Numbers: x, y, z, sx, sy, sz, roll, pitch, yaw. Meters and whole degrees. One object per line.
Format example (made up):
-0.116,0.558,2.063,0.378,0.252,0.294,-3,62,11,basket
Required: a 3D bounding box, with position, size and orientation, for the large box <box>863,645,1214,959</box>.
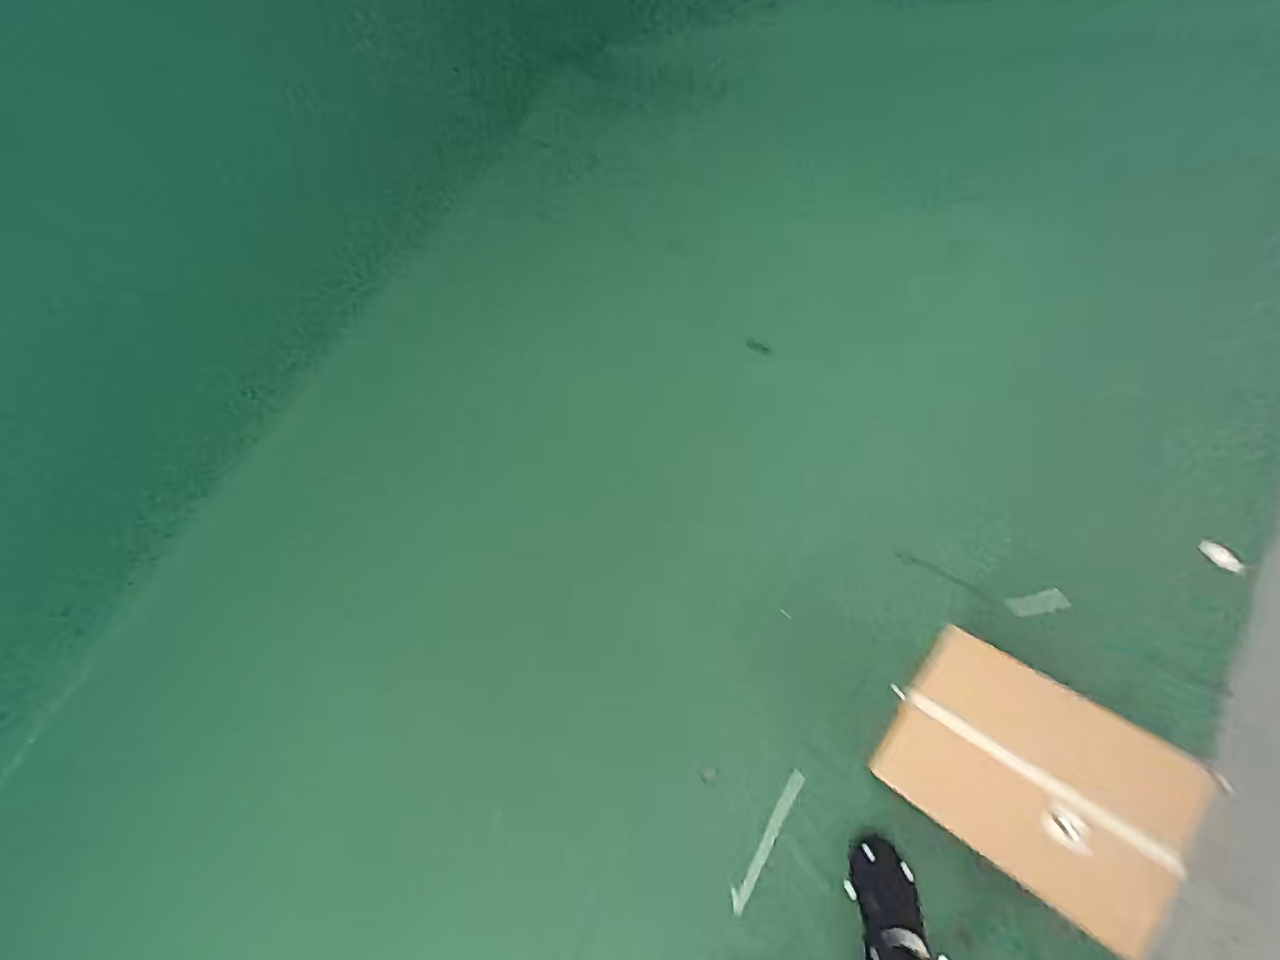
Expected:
0.694,0.580,1.027,0.408,0.320,0.320,31,77,29,large box
